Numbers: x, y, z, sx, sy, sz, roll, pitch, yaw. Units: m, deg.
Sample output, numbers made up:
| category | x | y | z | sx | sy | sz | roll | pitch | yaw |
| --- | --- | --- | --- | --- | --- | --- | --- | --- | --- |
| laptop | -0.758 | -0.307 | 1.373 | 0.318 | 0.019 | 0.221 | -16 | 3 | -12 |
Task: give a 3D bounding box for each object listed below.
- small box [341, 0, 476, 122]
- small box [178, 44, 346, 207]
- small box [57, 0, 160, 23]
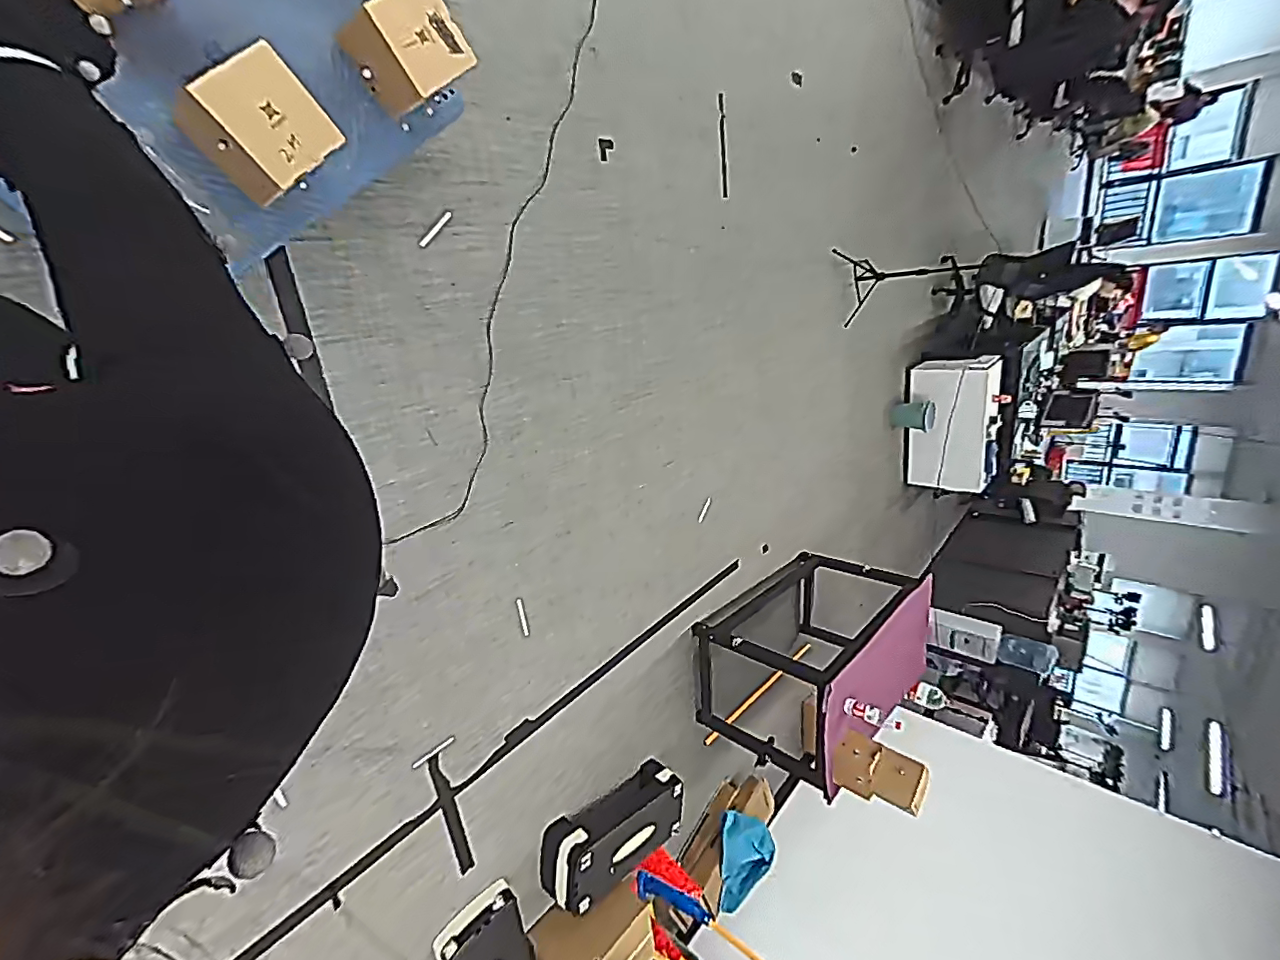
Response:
| category | x | y | z | sx | sy | sz | roll | pitch | yaw |
| --- | --- | --- | --- | --- | --- | --- | --- | --- | --- |
| small box | -0.495 | -0.908 | 1.154 | 0.179 | 0.176 | 0.168 | -54 | 132 | -24 |
| small box | -0.695 | -0.638 | 0.993 | 0.168 | 0.176 | 0.179 | -57 | 133 | -23 |
| small box | -0.837 | -0.837 | 0.802 | 0.168 | 0.176 | 0.179 | -53 | 133 | -26 |
